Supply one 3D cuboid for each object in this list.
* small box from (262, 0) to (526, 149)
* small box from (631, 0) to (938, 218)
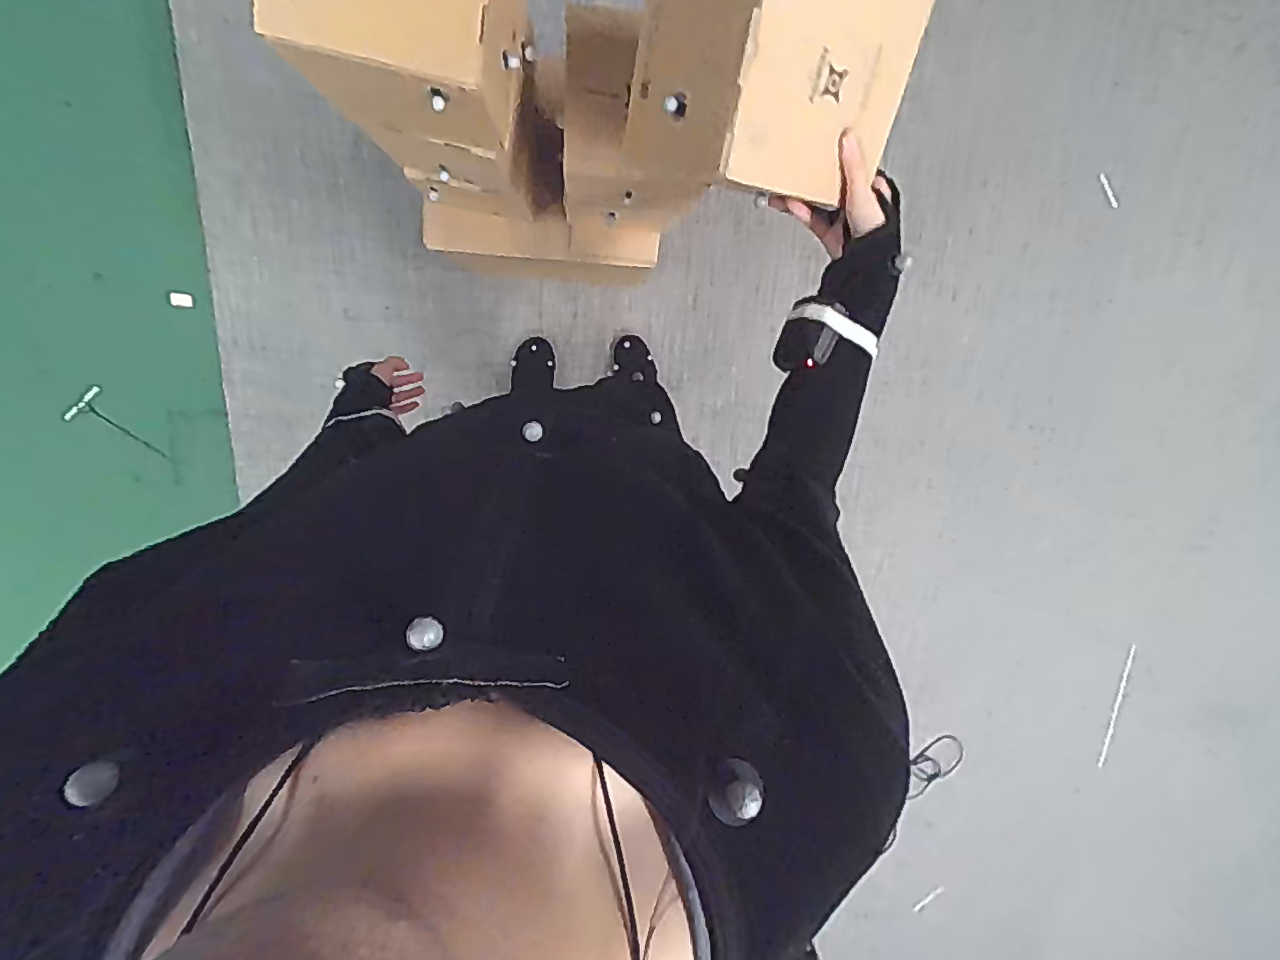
[{"bbox_3d":[-0.211,-0.437,0.504,0.179,0.176,0.168,8,104,-8],"label":"small box"},{"bbox_3d":[0.113,-0.350,0.485,0.179,0.176,0.168,-7,124,-33],"label":"small box"}]
